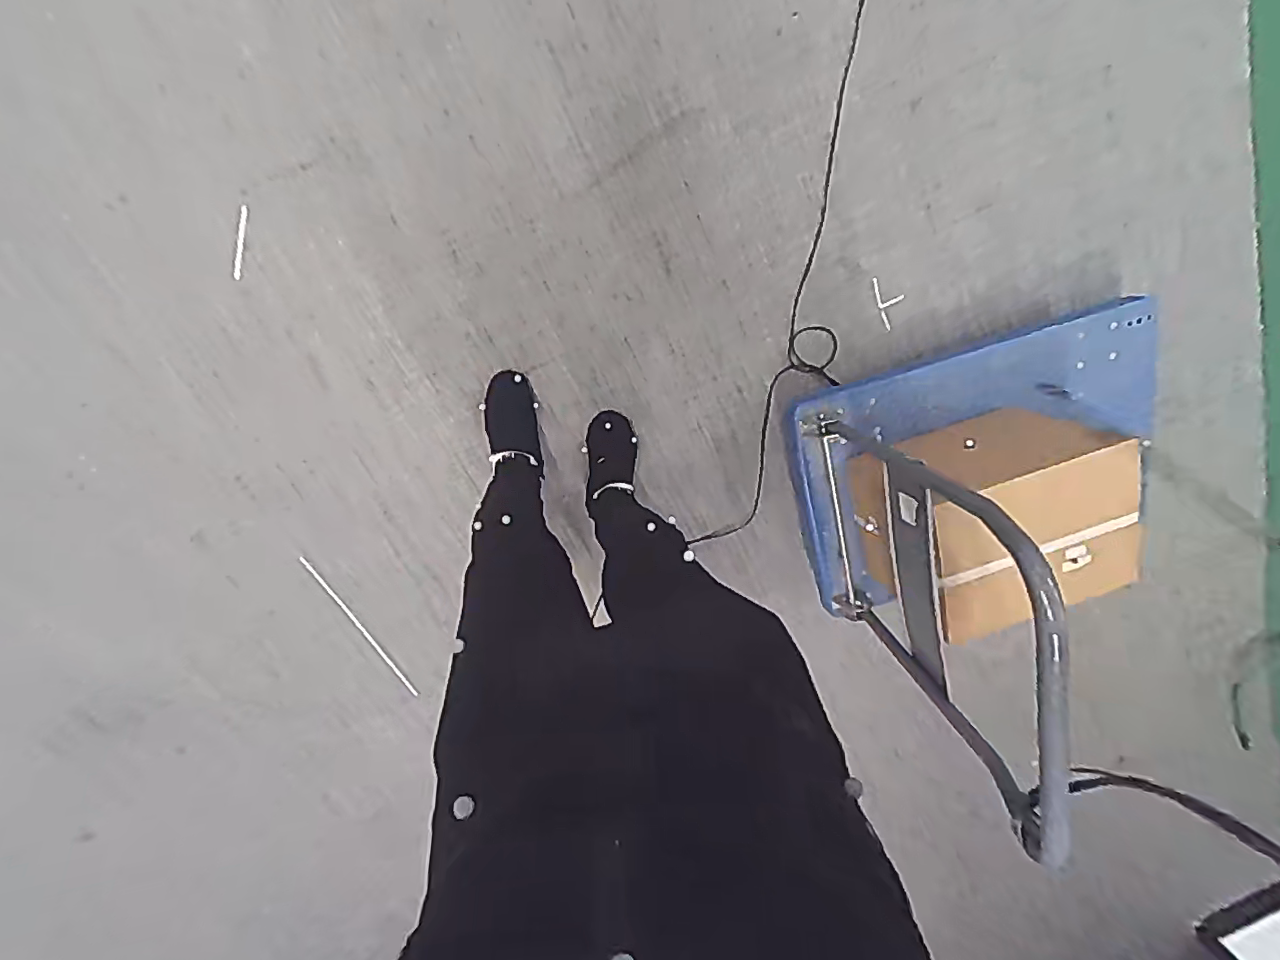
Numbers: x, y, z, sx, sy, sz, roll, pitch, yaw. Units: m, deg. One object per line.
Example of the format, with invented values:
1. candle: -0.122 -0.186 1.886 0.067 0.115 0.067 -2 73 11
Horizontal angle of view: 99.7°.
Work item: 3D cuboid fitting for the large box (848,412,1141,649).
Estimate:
1. large box: 0.718 0.083 1.139 0.408 0.320 0.320 -18 110 -3
